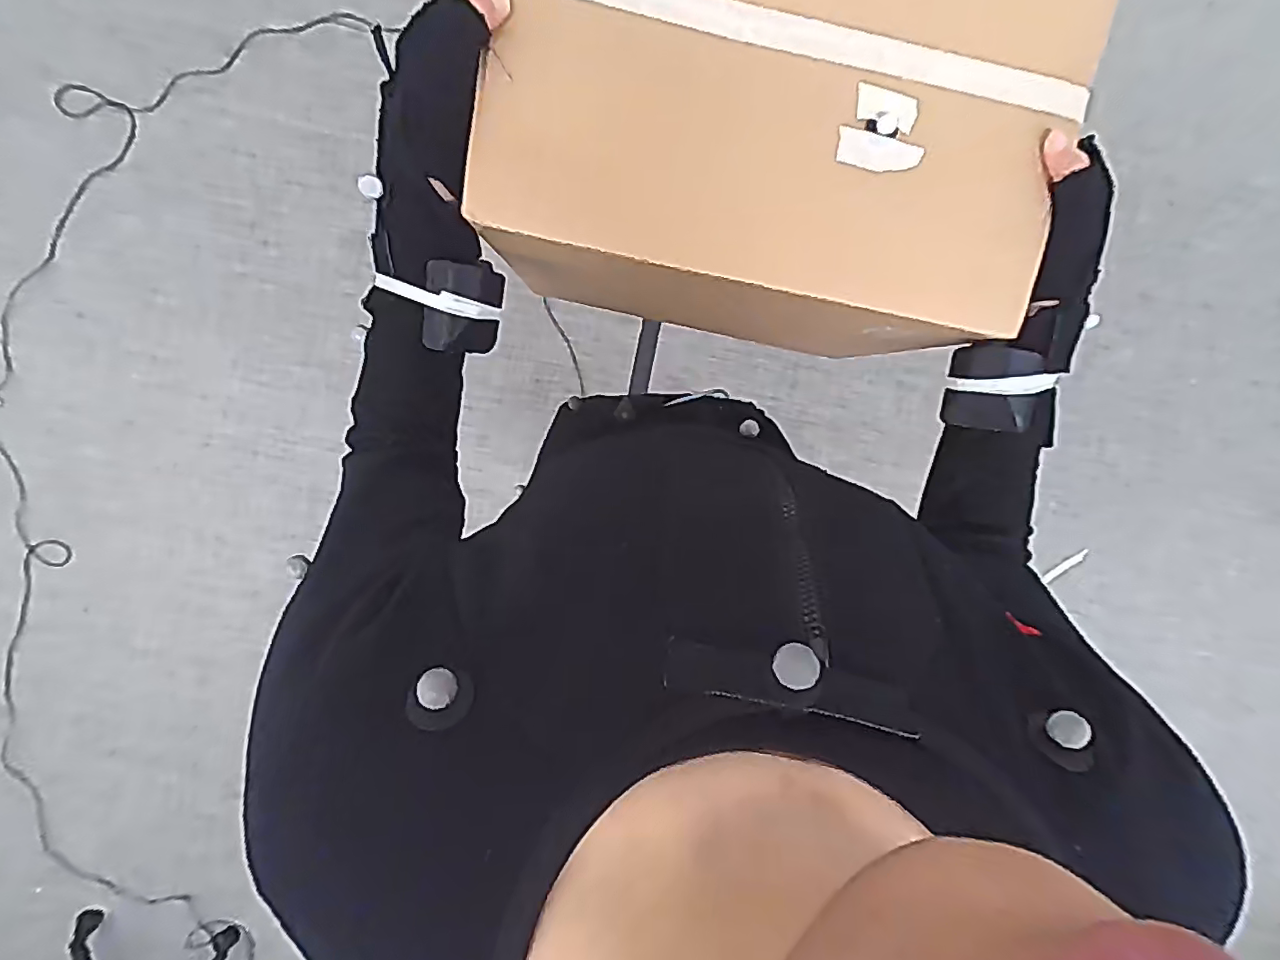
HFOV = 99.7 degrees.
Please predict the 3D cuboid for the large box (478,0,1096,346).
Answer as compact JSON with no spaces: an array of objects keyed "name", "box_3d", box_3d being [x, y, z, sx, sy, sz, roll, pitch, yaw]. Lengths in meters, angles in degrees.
[{"name":"large box","box_3d":[0.096,-0.325,0.513,0.408,0.320,0.320,10,101,-5]}]
